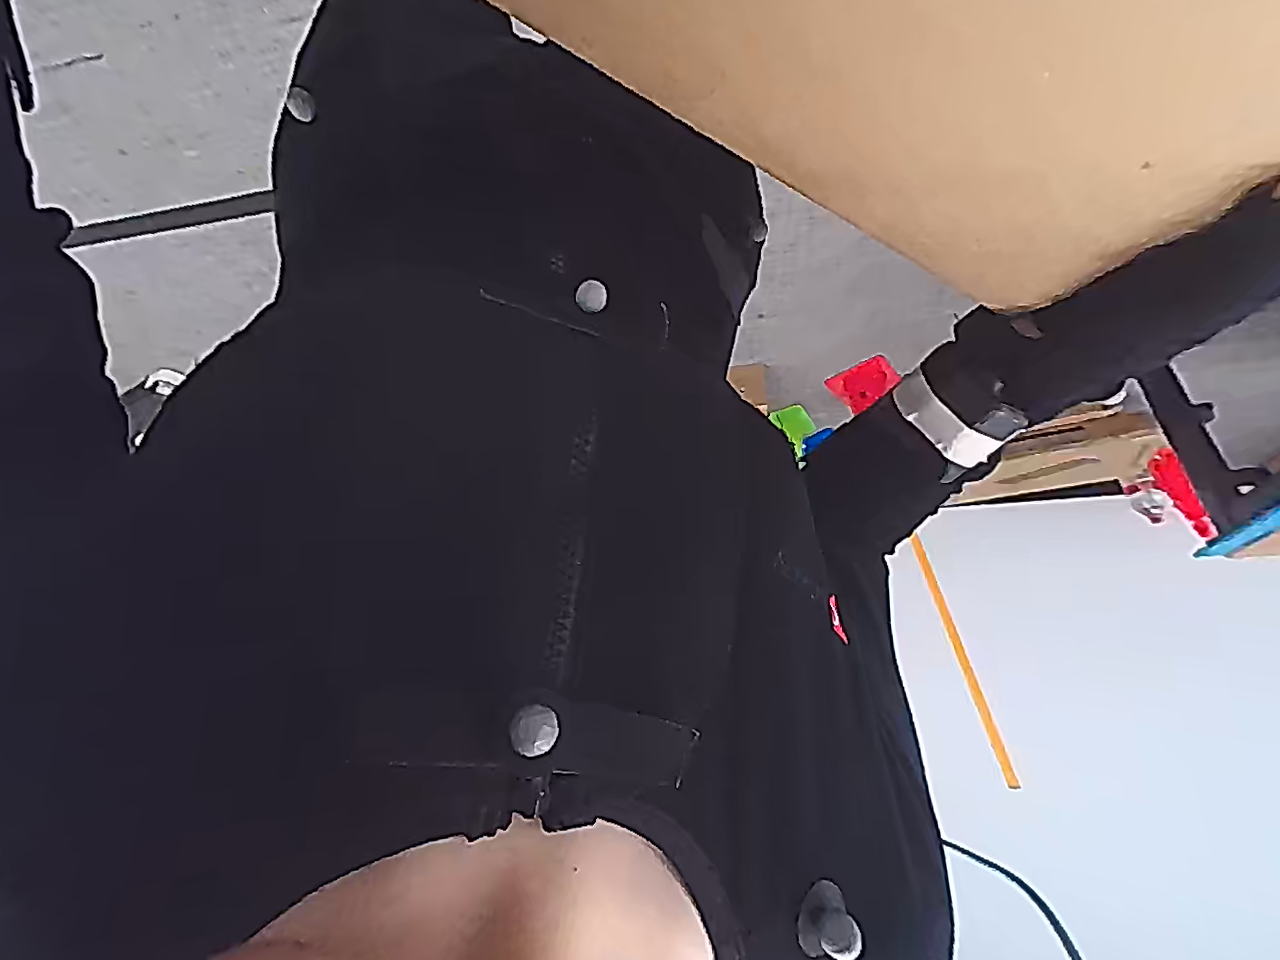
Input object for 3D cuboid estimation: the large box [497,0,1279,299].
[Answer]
[{"bbox_3d":[0.105,-0.312,0.115,0.408,0.320,0.320,16,164,-23],"label":"large box"}]
